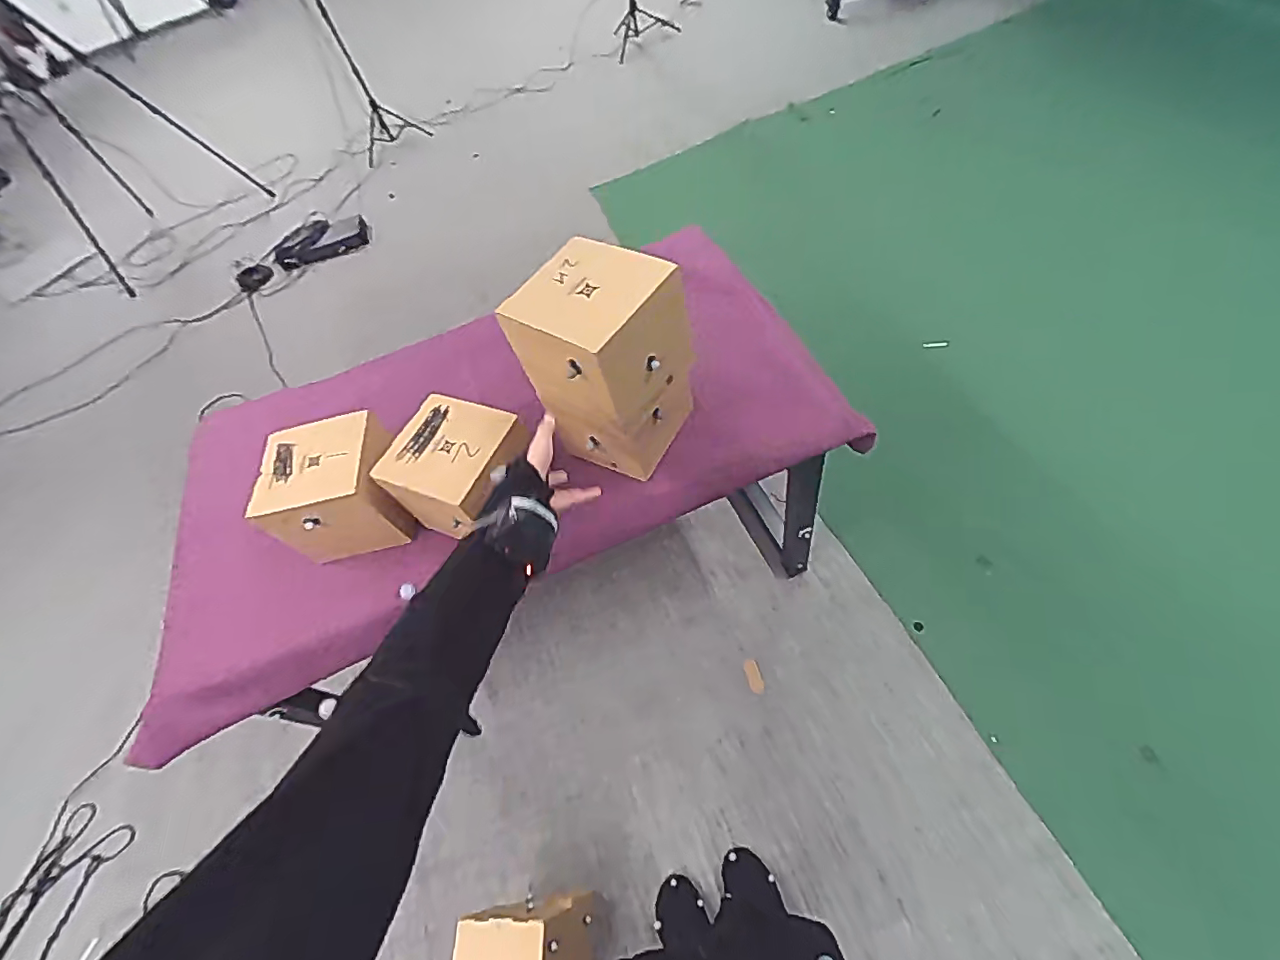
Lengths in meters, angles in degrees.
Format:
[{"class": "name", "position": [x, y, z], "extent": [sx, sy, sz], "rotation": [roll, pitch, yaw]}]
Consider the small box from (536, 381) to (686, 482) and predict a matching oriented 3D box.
[{"class": "small box", "position": [-0.035, -0.123, 0.894], "extent": [0.168, 0.176, 0.179], "rotation": [20, 65, 24]}]

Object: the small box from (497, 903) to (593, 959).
[{"class": "small box", "position": [-0.195, 0.979, 1.097], "extent": [0.168, 0.176, 0.179], "rotation": [-12, 57, 5]}]

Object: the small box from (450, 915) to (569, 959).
[{"class": "small box", "position": [-0.231, 0.898, 0.962], "extent": [0.168, 0.176, 0.179], "rotation": [-7, 55, 9]}]

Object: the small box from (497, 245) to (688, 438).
[{"class": "small box", "position": [-0.052, -0.183, 0.735], "extent": [0.179, 0.176, 0.168], "rotation": [27, 67, 28]}]
